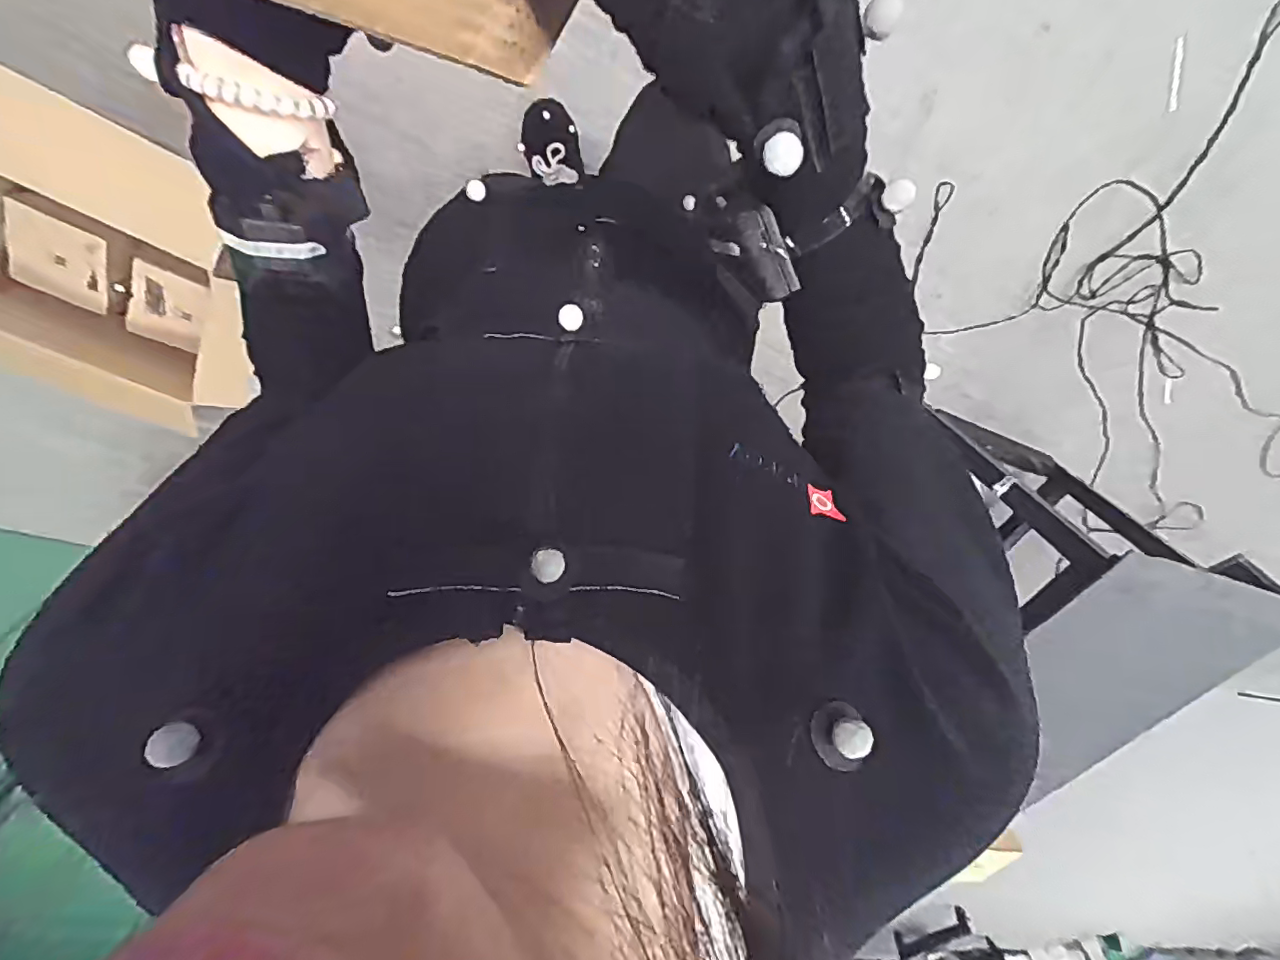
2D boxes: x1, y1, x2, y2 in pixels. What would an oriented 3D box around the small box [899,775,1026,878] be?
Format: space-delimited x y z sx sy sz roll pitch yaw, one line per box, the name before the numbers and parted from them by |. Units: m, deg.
small box | 0.803 0.873 1.365 0.179 0.176 0.168 15 120 -16
